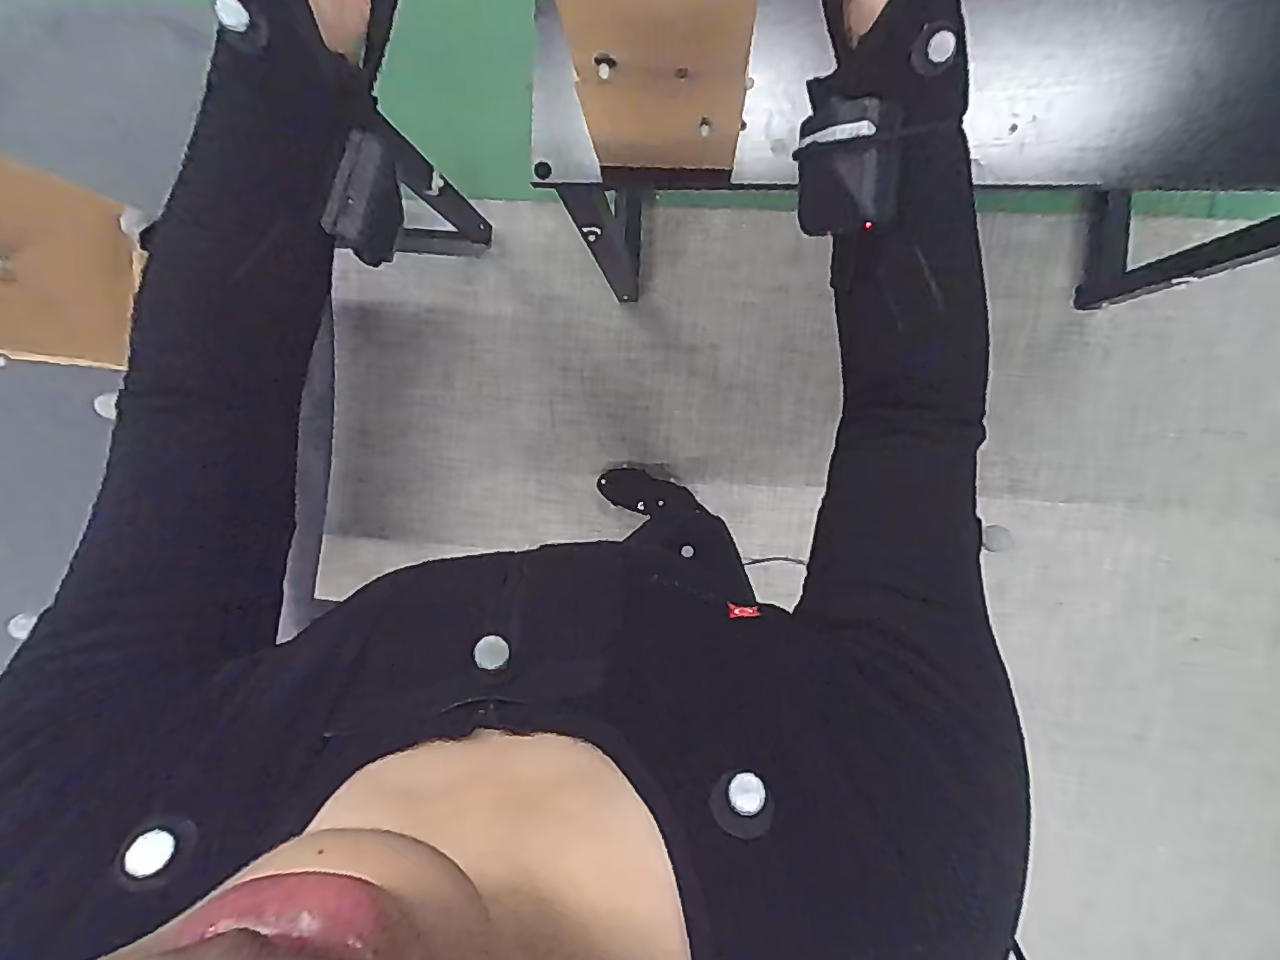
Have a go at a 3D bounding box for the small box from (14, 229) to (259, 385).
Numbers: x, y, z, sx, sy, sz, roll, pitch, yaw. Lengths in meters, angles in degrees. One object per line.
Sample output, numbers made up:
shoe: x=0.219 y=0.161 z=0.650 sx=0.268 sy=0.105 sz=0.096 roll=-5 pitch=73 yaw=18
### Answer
small box: x=-0.627 y=-0.214 z=0.689 sx=0.179 sy=0.176 sz=0.168 roll=7 pitch=96 yaw=6

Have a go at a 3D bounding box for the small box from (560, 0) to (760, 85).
small box: x=0.024 y=-0.462 z=0.439 sx=0.168 sy=0.176 sz=0.179 roll=6 pitch=95 yaw=3

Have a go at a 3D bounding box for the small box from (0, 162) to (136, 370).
small box: x=-0.646 y=-0.209 z=0.528 sx=0.168 sy=0.176 sz=0.179 roll=5 pitch=97 yaw=6
